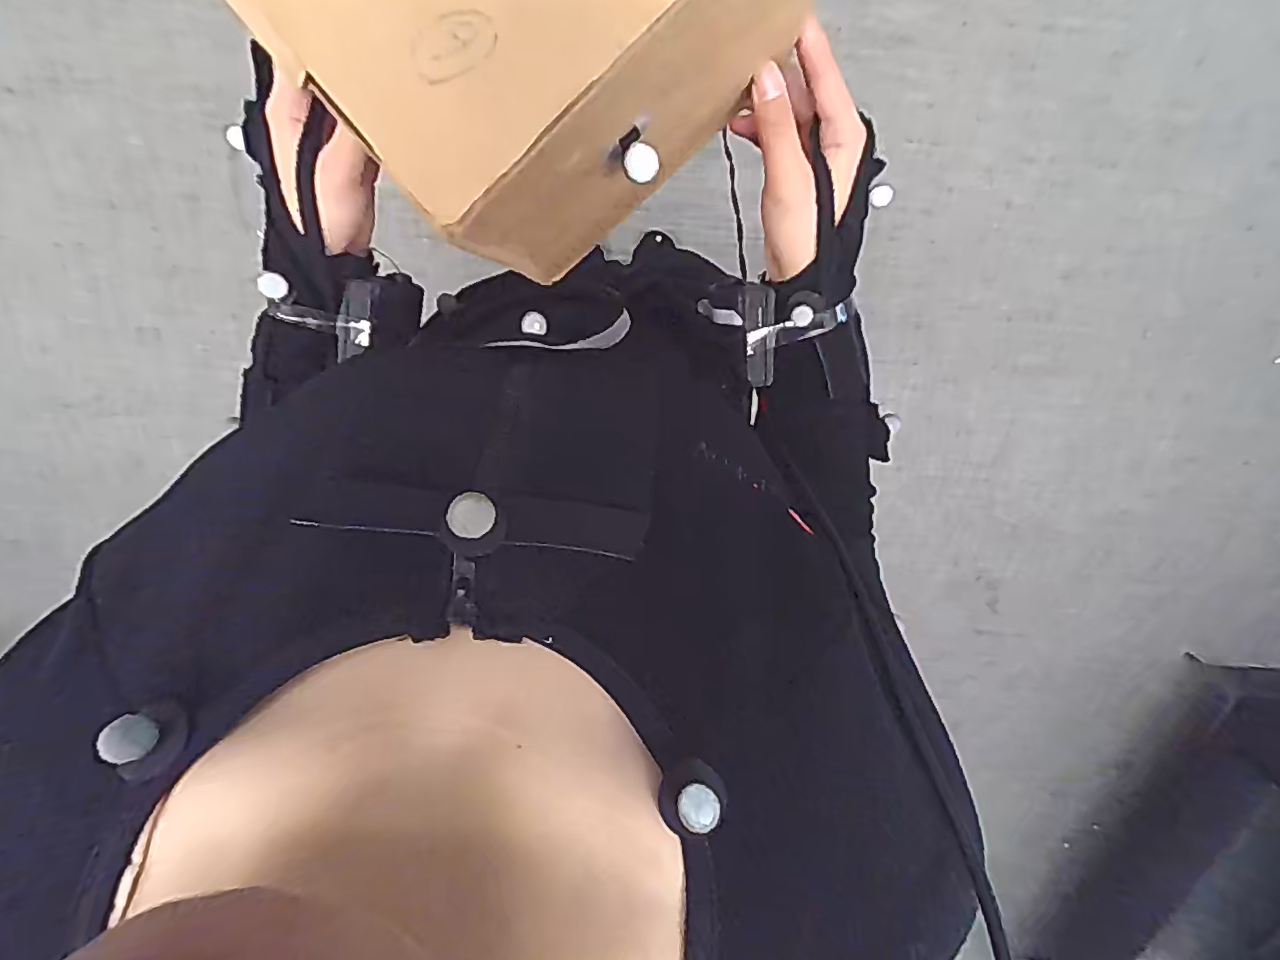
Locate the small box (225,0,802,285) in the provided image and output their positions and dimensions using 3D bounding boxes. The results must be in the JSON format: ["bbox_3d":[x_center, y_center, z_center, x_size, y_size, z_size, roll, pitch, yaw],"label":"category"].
[{"bbox_3d":[-0.043,-0.203,0.222,0.179,0.176,0.168,-38,100,12],"label":"small box"}]
